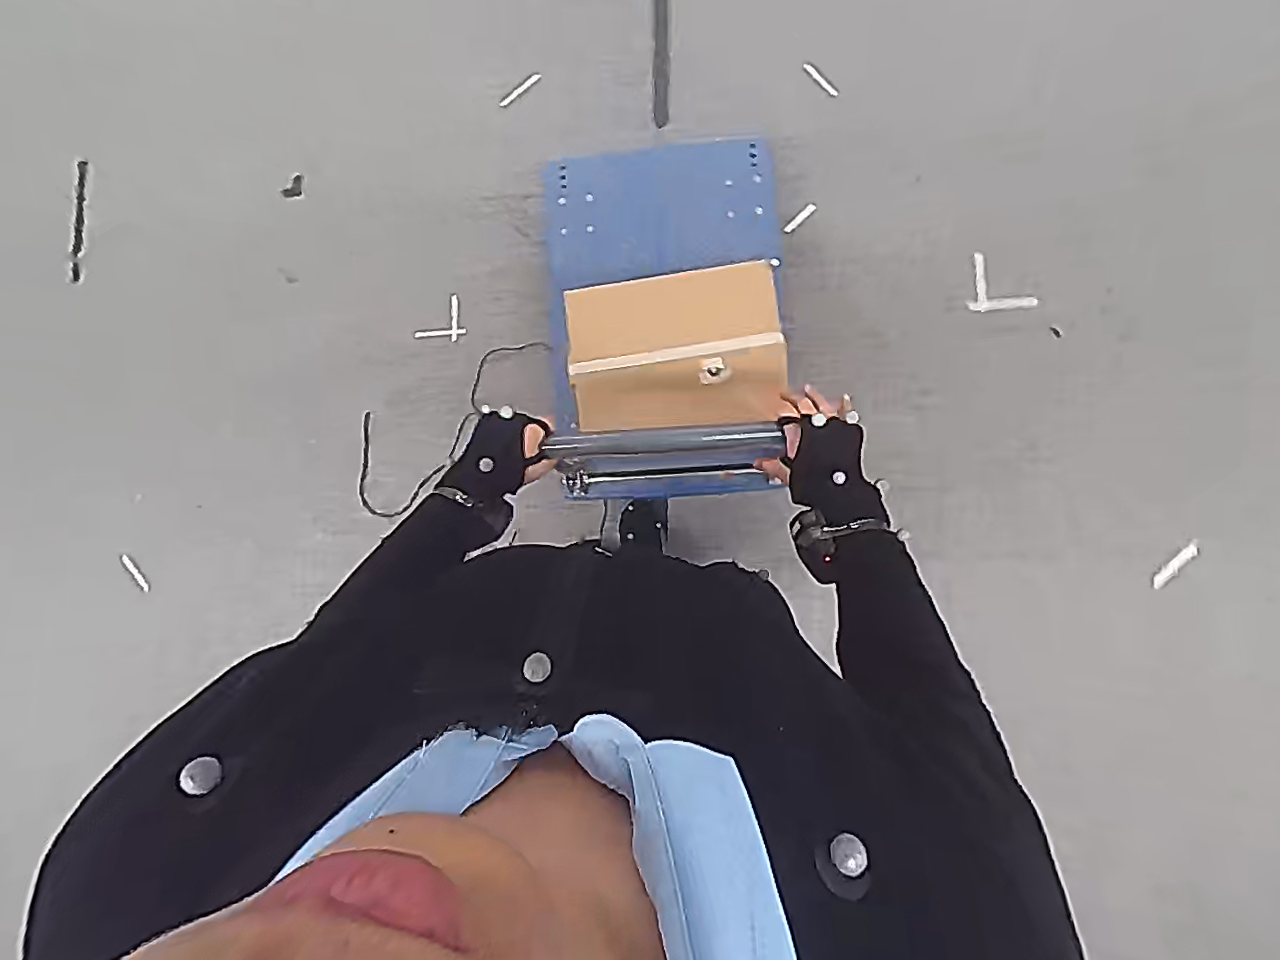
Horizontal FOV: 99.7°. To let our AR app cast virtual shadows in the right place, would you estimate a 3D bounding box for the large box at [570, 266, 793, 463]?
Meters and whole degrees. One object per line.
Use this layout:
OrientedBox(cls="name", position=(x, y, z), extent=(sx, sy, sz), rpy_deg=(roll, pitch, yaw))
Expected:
OrientedBox(cls="large box", position=(0.085, -0.227, 1.192), extent=(0.408, 0.320, 0.320), rpy_deg=(-7, 87, 4))
